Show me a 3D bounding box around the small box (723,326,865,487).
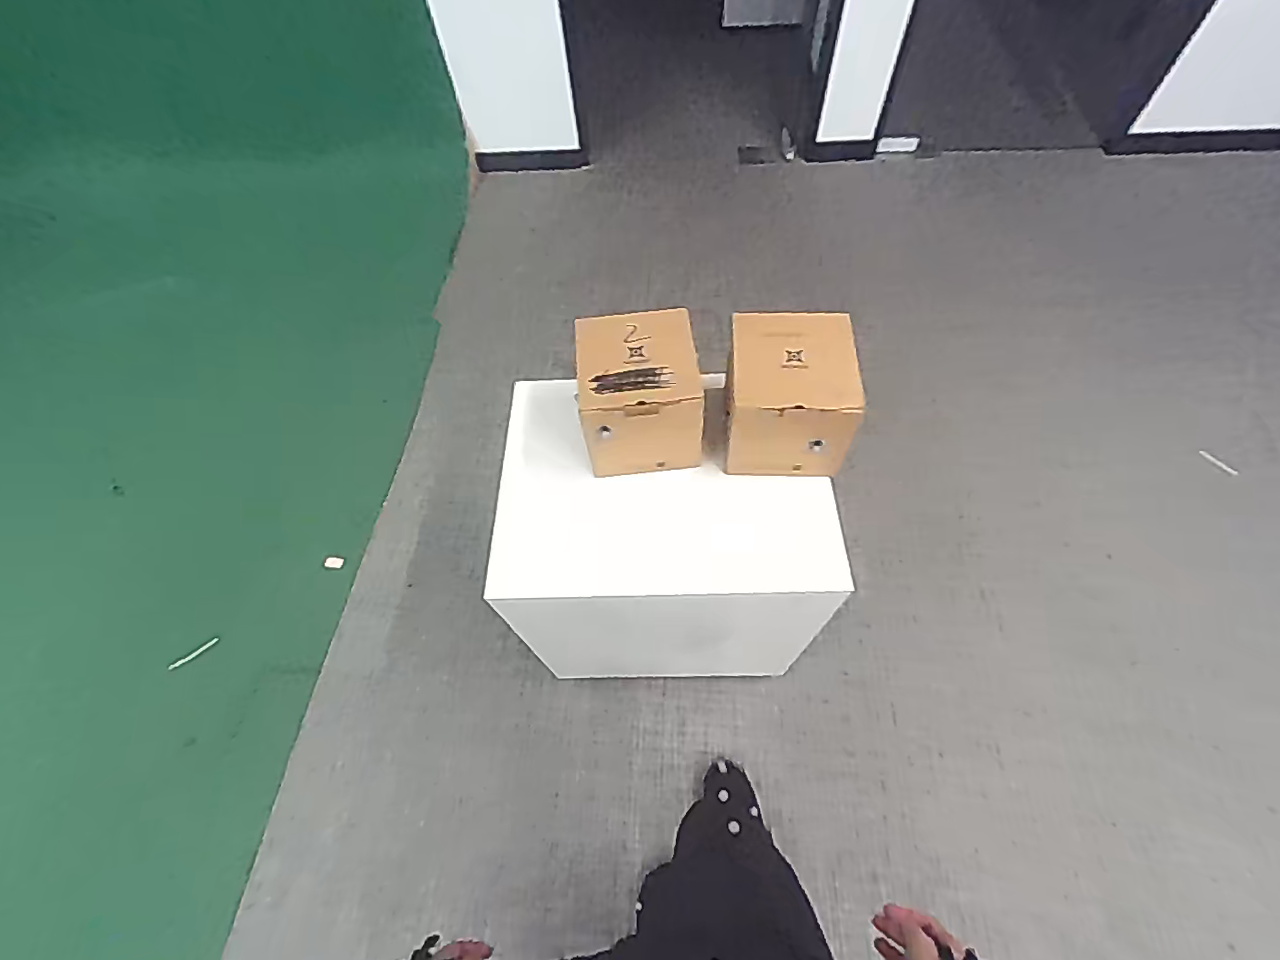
[{"bbox_3d":[0.213,-0.103,0.797,0.168,0.176,0.179,2,58,3],"label":"small box"}]
